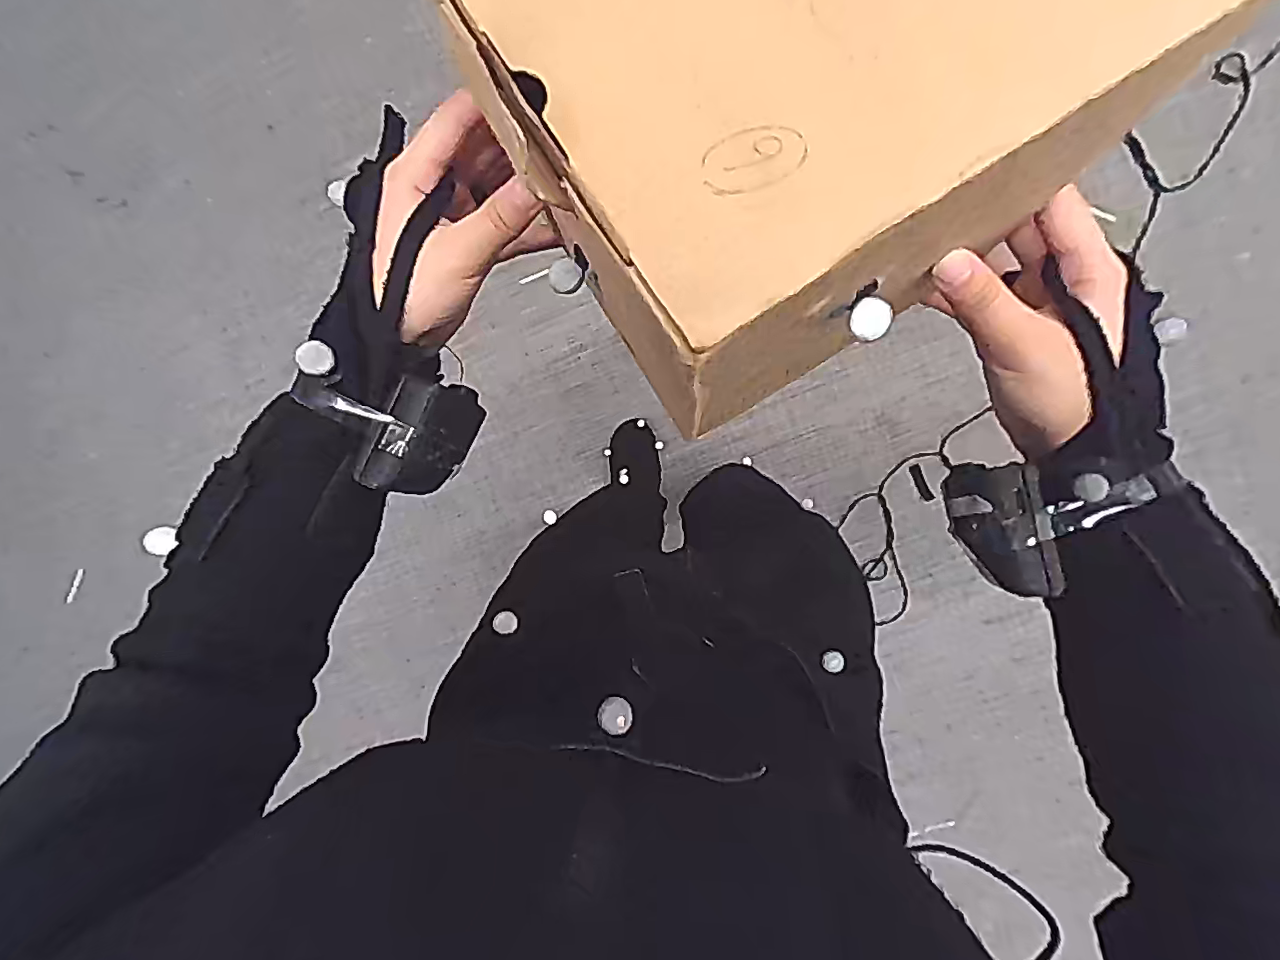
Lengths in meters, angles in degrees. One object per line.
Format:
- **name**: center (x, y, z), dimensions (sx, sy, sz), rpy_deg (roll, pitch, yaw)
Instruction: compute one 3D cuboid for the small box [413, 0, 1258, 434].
- **small box**: center (0.049, -0.136, 0.223), dimensions (0.179, 0.176, 0.168), rpy_deg (-33, 84, 4)
